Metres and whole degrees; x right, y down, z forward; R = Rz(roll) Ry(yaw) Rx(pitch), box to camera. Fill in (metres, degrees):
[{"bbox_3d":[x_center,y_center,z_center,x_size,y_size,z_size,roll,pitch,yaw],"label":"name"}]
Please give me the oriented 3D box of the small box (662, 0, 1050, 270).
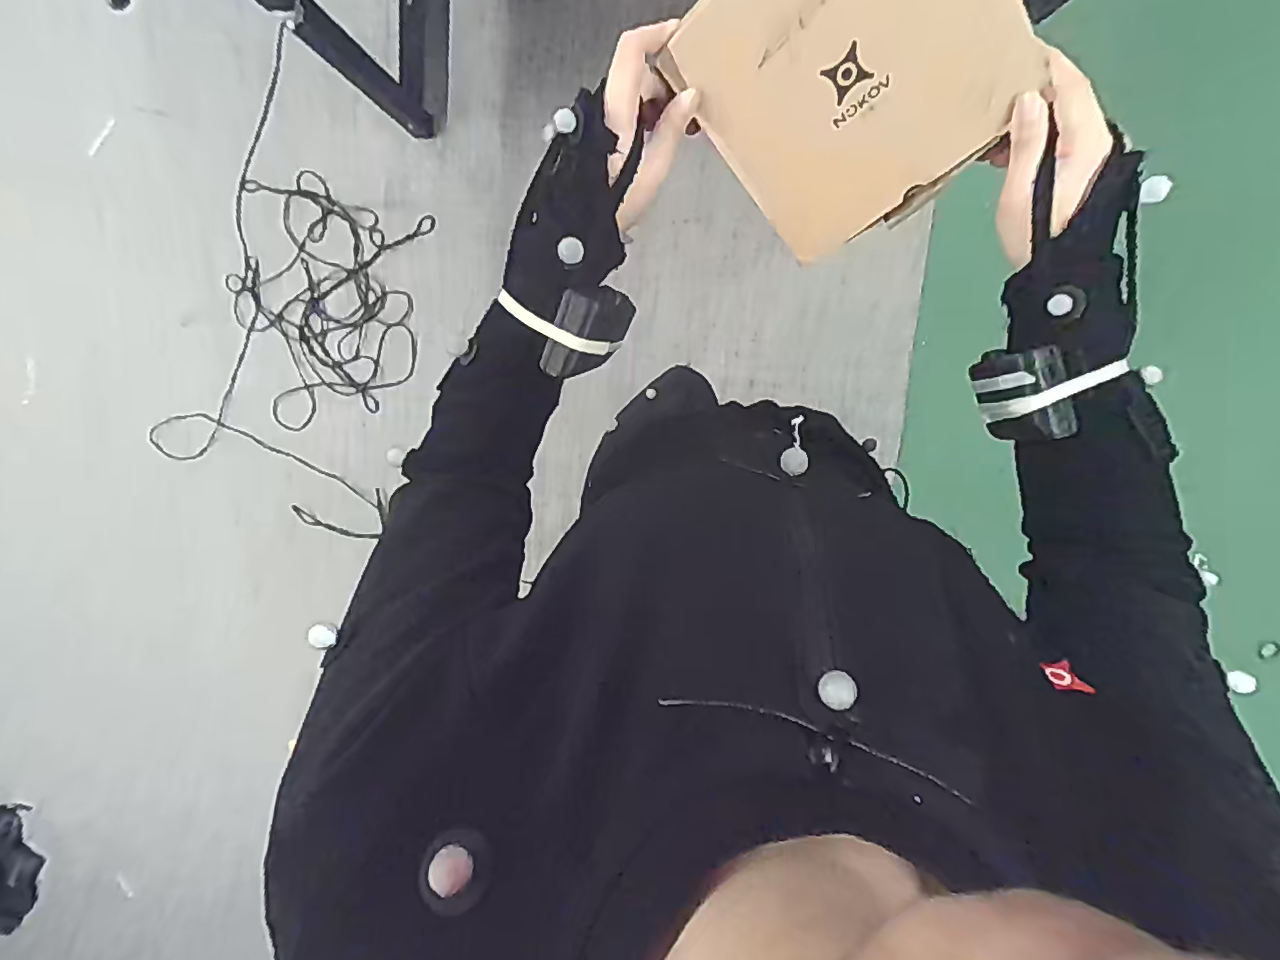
[{"bbox_3d":[0.141,-0.296,0.380,0.168,0.176,0.179,-29,123,35],"label":"small box"}]
